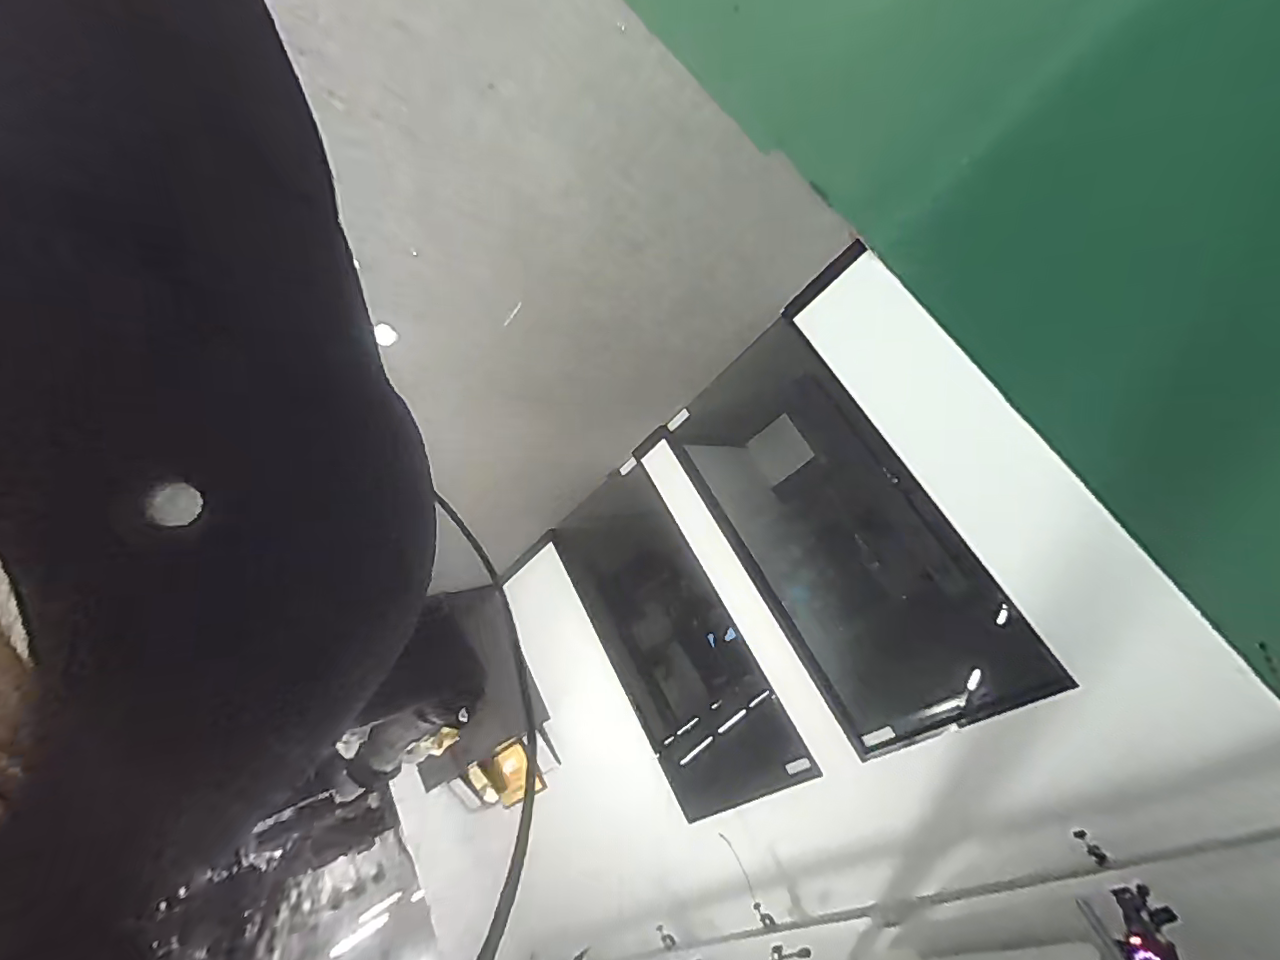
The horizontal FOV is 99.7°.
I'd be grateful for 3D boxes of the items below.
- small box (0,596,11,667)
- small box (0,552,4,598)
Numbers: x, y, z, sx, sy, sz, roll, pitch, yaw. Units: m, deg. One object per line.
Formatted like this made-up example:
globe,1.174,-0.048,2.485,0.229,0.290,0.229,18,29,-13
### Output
small box,-1.985,0.462,1.580,0.179,0.176,0.168,-8,154,-50
small box,-2.067,0.333,1.638,0.168,0.176,0.179,-41,158,33
